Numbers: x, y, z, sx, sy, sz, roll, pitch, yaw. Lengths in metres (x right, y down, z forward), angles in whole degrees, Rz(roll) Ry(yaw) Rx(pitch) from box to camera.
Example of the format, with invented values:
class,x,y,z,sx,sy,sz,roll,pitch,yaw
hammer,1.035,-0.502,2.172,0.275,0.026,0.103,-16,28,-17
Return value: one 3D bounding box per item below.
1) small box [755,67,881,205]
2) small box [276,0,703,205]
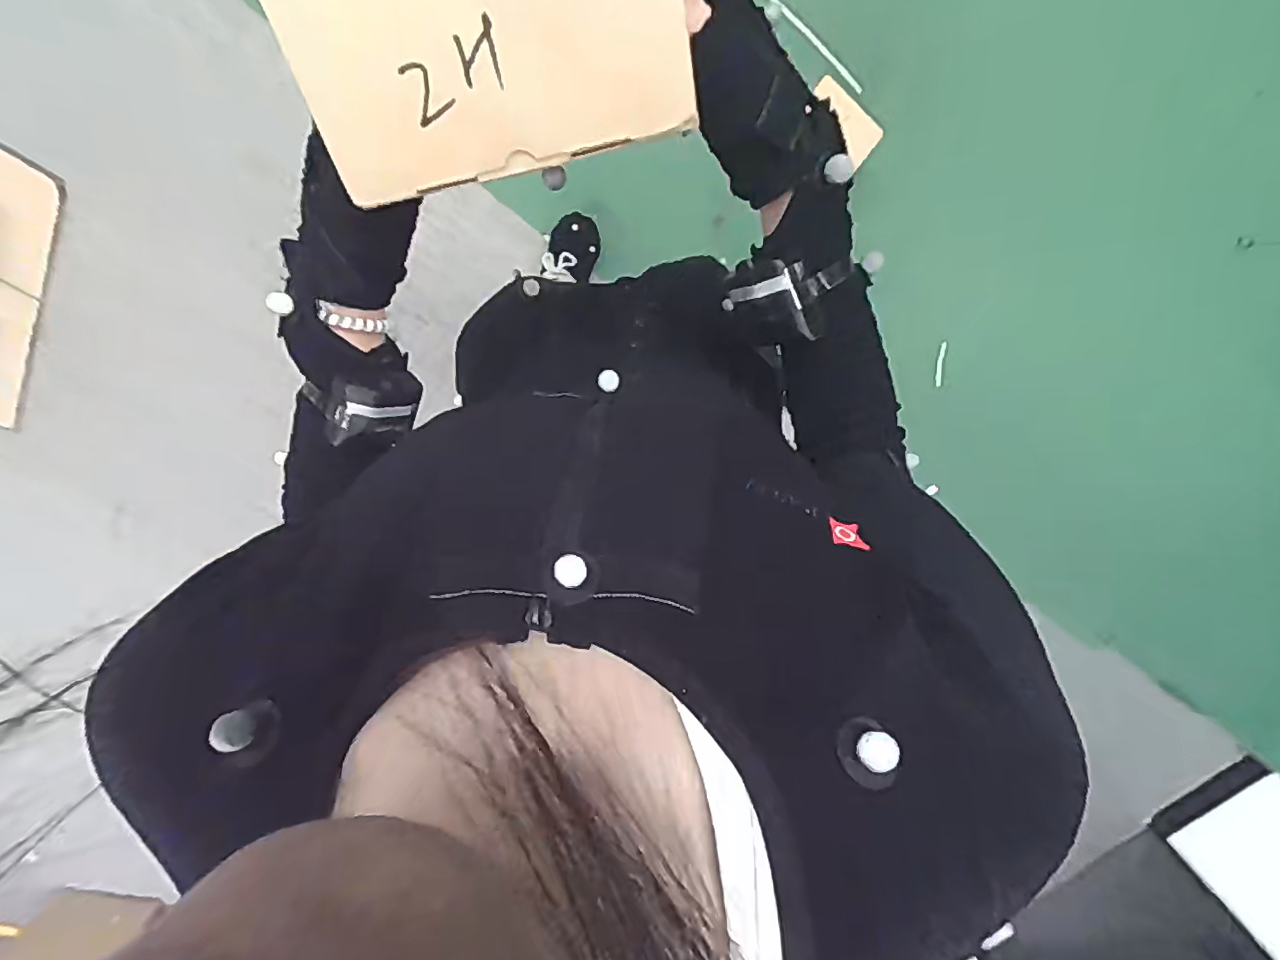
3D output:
class,x,y,z,sx,sy,sz,roll,pitch,yaw
small box,0.363,-0.712,1.147,0.168,0.176,0.179,34,108,-16
small box,-0.070,-0.257,0.270,0.168,0.176,0.179,-11,123,5
